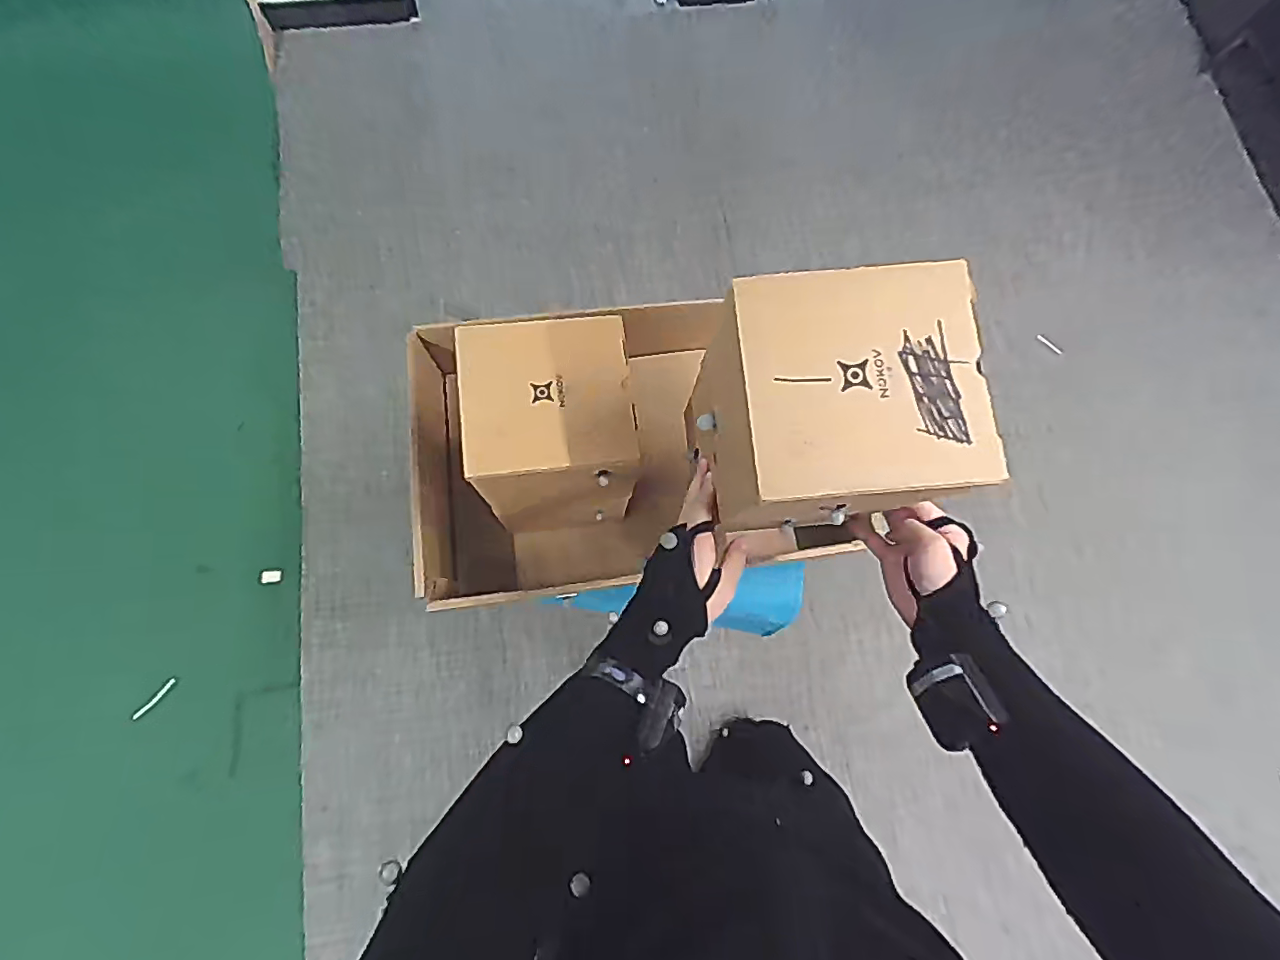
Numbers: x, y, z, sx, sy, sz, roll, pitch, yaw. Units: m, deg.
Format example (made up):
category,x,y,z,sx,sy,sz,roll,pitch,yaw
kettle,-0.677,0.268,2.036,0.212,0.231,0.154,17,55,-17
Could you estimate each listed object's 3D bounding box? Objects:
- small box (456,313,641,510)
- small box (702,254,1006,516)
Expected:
category,x,y,z,sx,sy,sz,roll,pitch,yaw
small box,-0.100,-0.069,0.620,0.179,0.176,0.168,-6,75,-7
small box,0.156,-0.064,0.456,0.179,0.176,0.168,-5,79,-1
